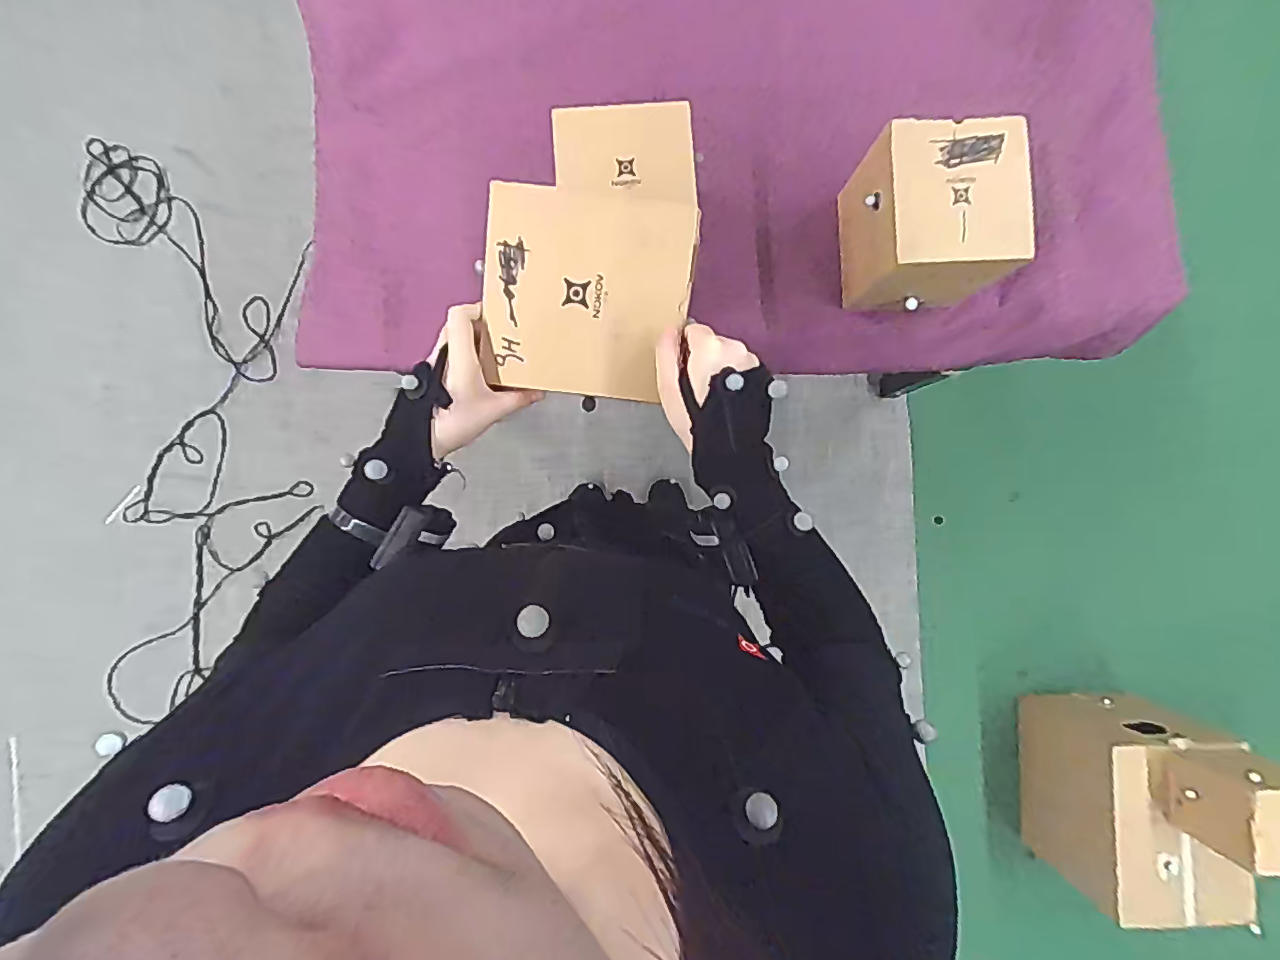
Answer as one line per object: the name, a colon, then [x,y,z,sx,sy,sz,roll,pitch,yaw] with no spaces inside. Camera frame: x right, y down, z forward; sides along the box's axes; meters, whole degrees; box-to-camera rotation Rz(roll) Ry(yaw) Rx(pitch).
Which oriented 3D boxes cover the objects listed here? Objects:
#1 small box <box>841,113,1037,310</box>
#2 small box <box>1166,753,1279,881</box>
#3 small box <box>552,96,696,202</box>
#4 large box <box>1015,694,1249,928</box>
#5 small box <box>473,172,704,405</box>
small box: [0.375,-0.339,0.709,0.168,0.176,0.179,-2,89,0]
small box: [1.248,0.680,1.110,0.179,0.176,0.168,0,89,-1]
small box: [-0.020,-0.353,0.704,0.168,0.176,0.179,-3,87,0]
large box: [1.196,0.792,1.350,0.320,0.320,0.408,-1,89,0]
small box: [-0.046,-0.167,0.522,0.179,0.176,0.168,7,99,-2]
